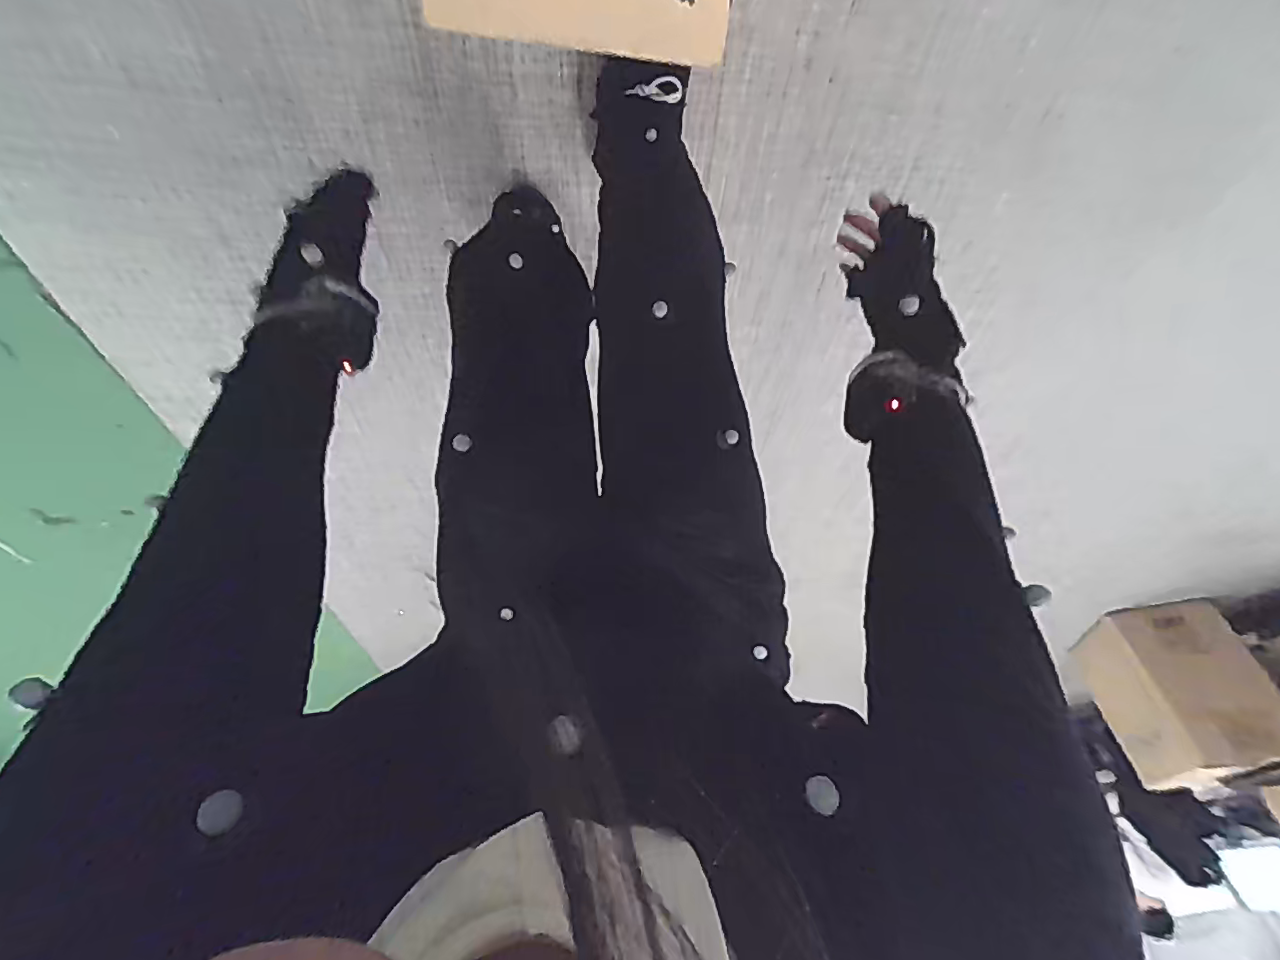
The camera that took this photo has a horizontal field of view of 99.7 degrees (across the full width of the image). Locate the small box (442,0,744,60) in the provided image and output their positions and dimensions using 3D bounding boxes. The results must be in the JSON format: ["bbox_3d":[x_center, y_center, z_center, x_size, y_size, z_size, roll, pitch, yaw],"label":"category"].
[{"bbox_3d":[-0.030,-0.373,0.314,0.179,0.176,0.168,-2,141,-7],"label":"small box"}]
